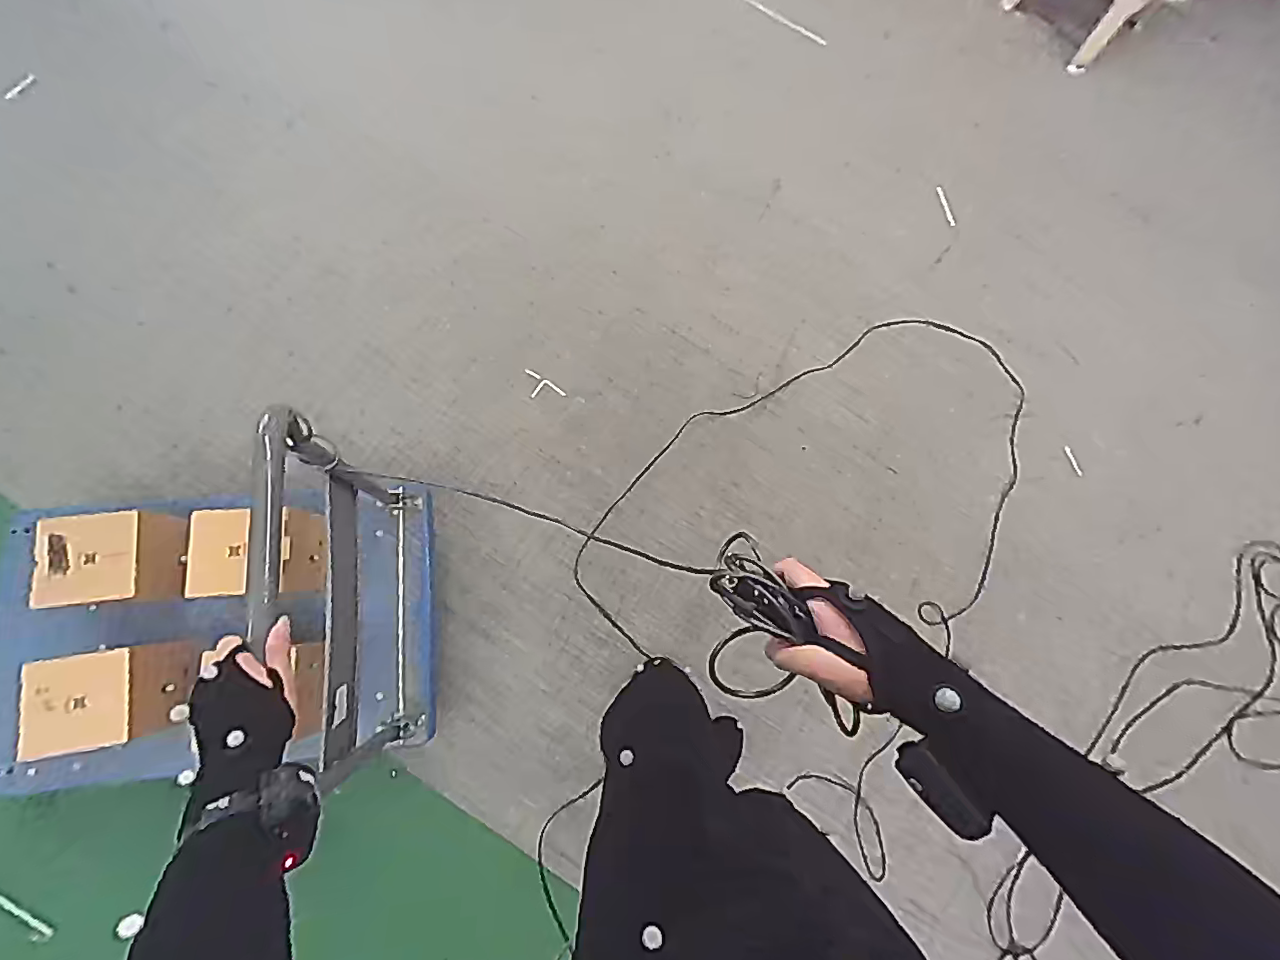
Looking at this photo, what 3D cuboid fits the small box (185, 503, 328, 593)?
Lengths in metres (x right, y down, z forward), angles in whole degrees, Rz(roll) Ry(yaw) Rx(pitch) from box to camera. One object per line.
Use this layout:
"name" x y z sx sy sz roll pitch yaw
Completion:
"small box" -0.777 0.144 1.111 0.179 0.176 0.168 -3 79 -7

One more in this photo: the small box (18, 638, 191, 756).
"small box" -1.005 0.403 1.033 0.179 0.176 0.168 -7 79 -7

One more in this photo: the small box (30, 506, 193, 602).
"small box" -1.036 0.152 1.081 0.179 0.176 0.168 -6 80 -8
